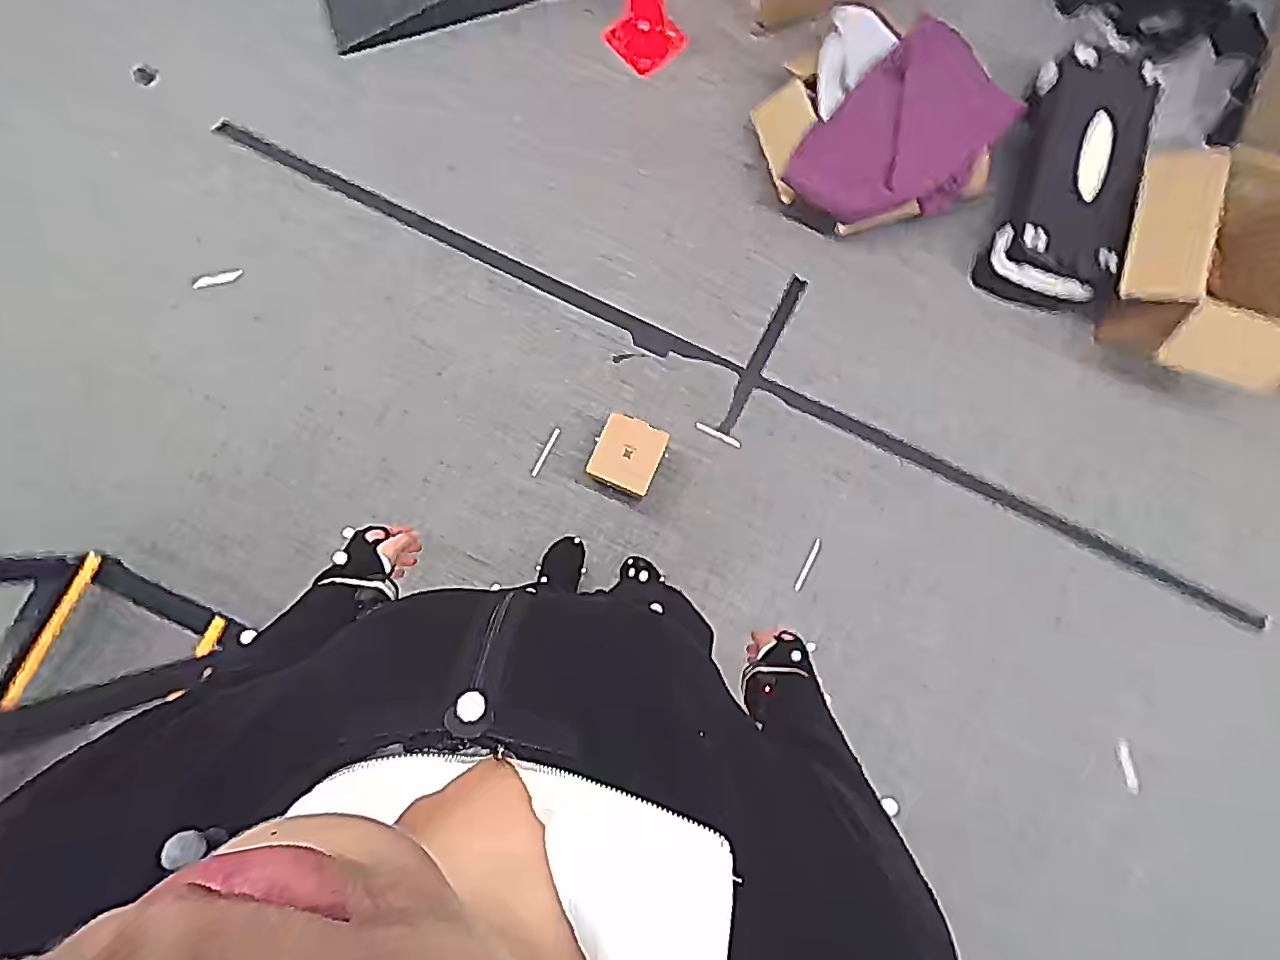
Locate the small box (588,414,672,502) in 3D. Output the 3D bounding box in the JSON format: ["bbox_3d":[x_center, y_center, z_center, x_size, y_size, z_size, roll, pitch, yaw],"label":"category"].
[{"bbox_3d":[-0.027,-0.053,1.450,0.168,0.176,0.179,23,85,3],"label":"small box"}]
